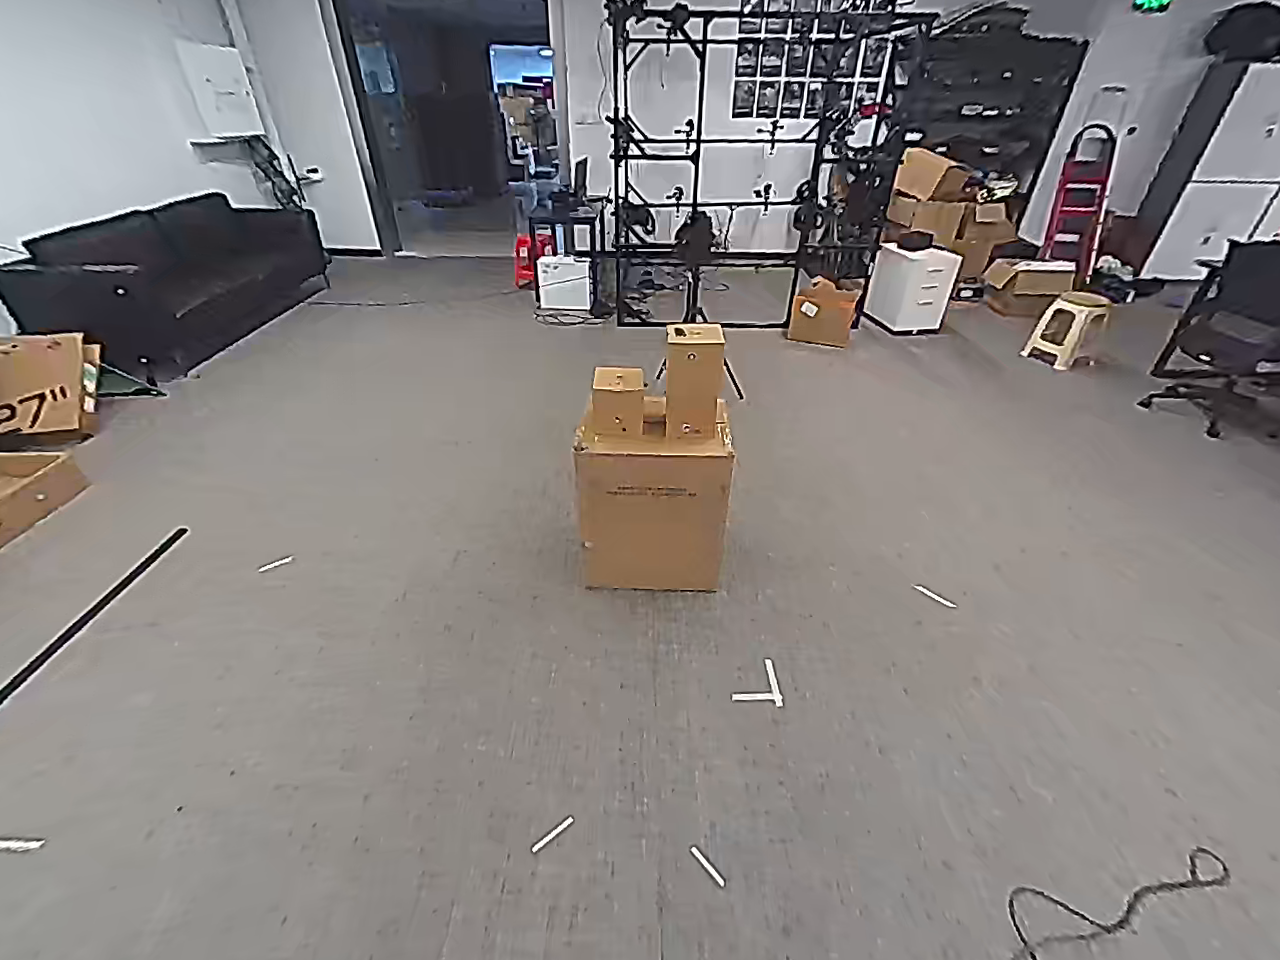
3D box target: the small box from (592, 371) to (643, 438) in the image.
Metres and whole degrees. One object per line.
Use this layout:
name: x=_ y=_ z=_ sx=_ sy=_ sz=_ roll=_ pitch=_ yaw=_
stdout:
small box: x=-0.076 y=-0.259 z=1.854 sx=0.168 sy=0.176 sz=0.179 roll=1 pitch=35 yaw=-1

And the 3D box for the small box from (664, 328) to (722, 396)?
small box: x=0.167 y=-0.381 z=1.744 sx=0.179 sy=0.176 sz=0.168 roll=0 pitch=35 yaw=2

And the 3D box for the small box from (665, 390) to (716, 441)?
small box: x=0.168 y=-0.246 z=1.840 sx=0.168 sy=0.176 sz=0.179 roll=-1 pitch=36 yaw=2
